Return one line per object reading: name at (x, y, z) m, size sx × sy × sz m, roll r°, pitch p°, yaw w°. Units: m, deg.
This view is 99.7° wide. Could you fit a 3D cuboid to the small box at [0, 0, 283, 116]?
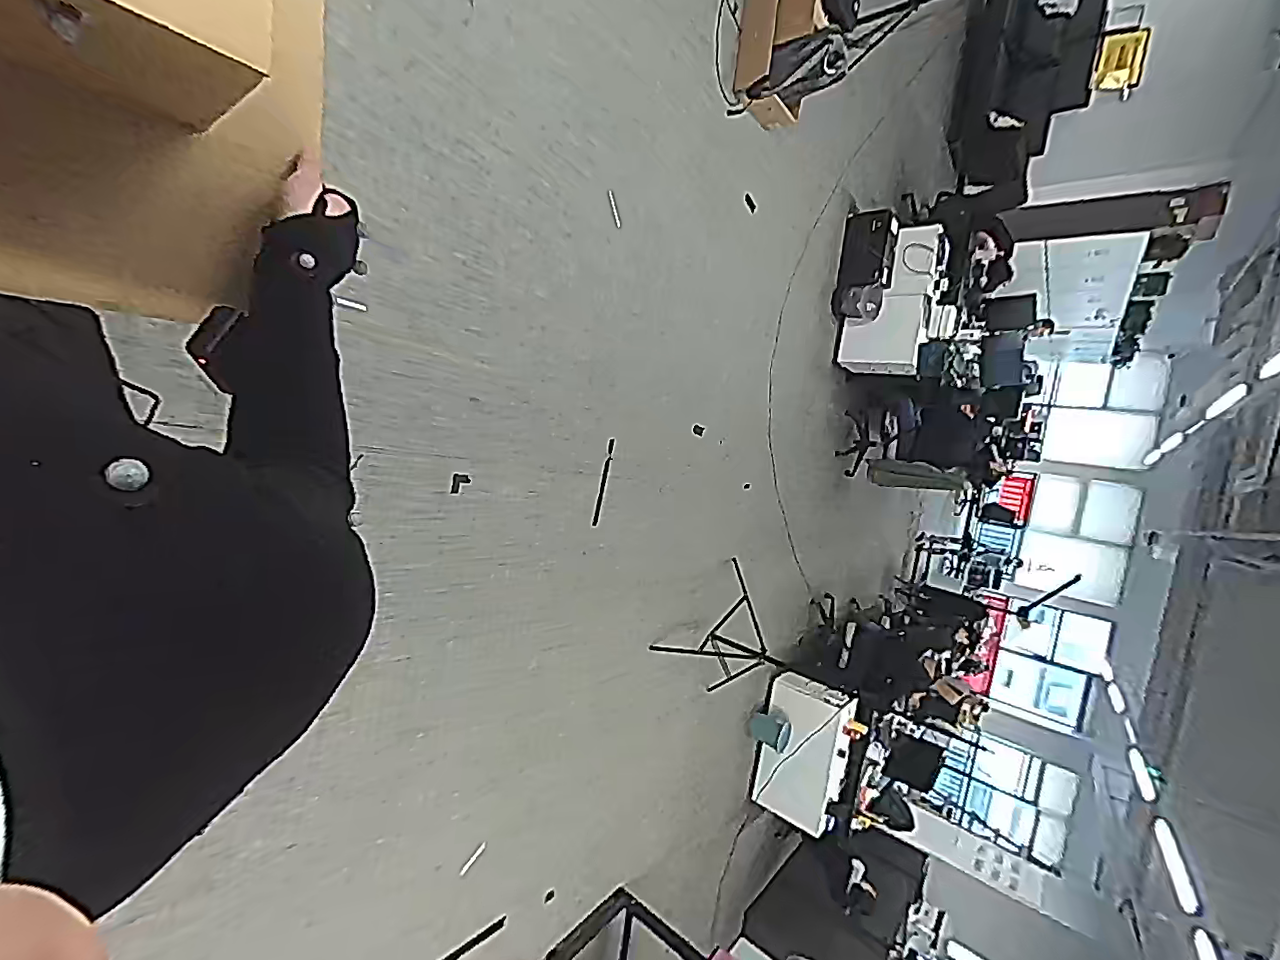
small box at (-0.365, -0.376, 0.360) m, size 0.179 × 0.176 × 0.168 m, roll -2°, pitch 103°, yaw -50°
